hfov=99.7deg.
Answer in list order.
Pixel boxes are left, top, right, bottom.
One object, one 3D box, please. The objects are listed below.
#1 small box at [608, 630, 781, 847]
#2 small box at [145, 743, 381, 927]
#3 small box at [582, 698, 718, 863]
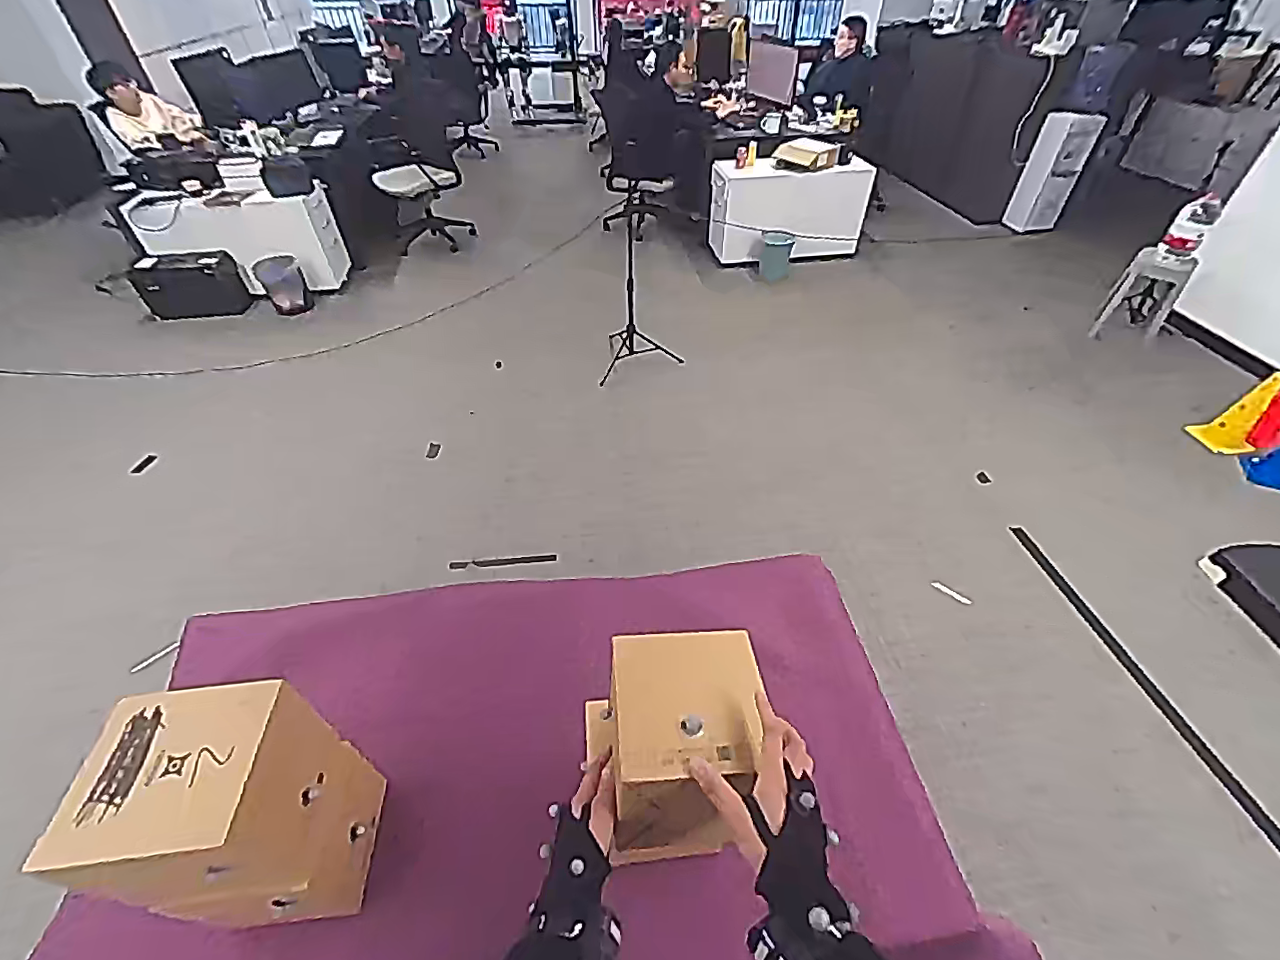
[{"bbox_3d":[0.048,0.299,0.626,0.168,0.179,0.176,-2,39,-7],"label":"small box"},{"bbox_3d":[-0.469,0.468,0.714,0.179,0.176,0.168,-4,44,-4],"label":"small box"},{"bbox_3d":[0.015,0.418,0.762,0.179,0.176,0.168,-4,44,-5],"label":"small box"}]
